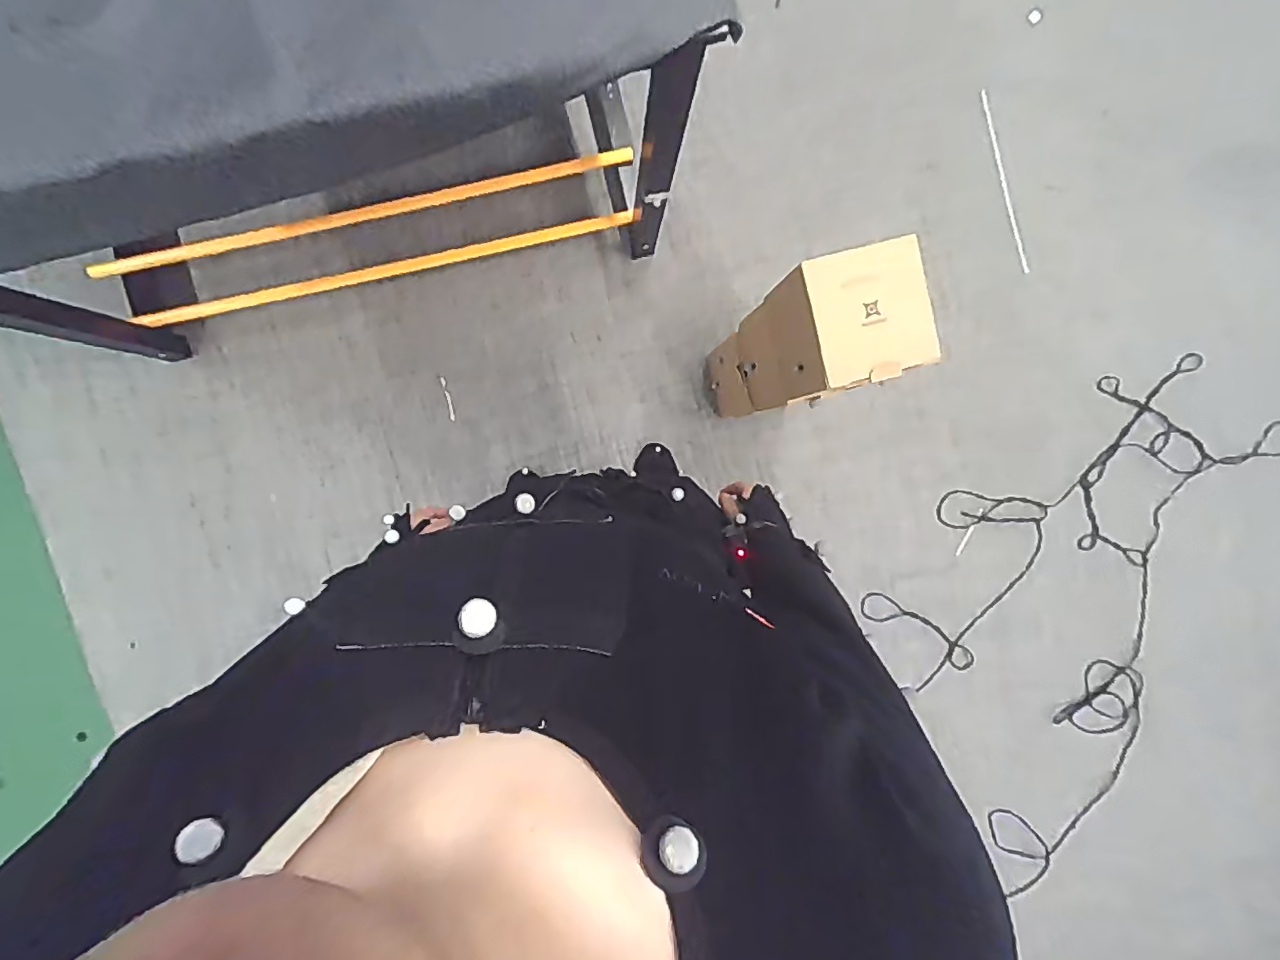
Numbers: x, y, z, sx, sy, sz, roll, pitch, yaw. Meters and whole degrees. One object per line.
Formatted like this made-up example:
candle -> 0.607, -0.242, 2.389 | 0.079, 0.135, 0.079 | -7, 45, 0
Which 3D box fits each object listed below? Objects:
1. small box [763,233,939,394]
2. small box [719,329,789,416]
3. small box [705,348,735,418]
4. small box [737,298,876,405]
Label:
small box -> 0.301, -0.232, 0.804 | 0.168, 0.176, 0.179 | -16, 93, -4
small box -> 0.273, -0.236, 1.129 | 0.179, 0.176, 0.168 | -16, 94, -4
small box -> 0.271, -0.250, 1.292 | 0.179, 0.176, 0.168 | -14, 93, -5
small box -> 0.288, -0.235, 0.965 | 0.168, 0.176, 0.179 | -15, 95, -5
